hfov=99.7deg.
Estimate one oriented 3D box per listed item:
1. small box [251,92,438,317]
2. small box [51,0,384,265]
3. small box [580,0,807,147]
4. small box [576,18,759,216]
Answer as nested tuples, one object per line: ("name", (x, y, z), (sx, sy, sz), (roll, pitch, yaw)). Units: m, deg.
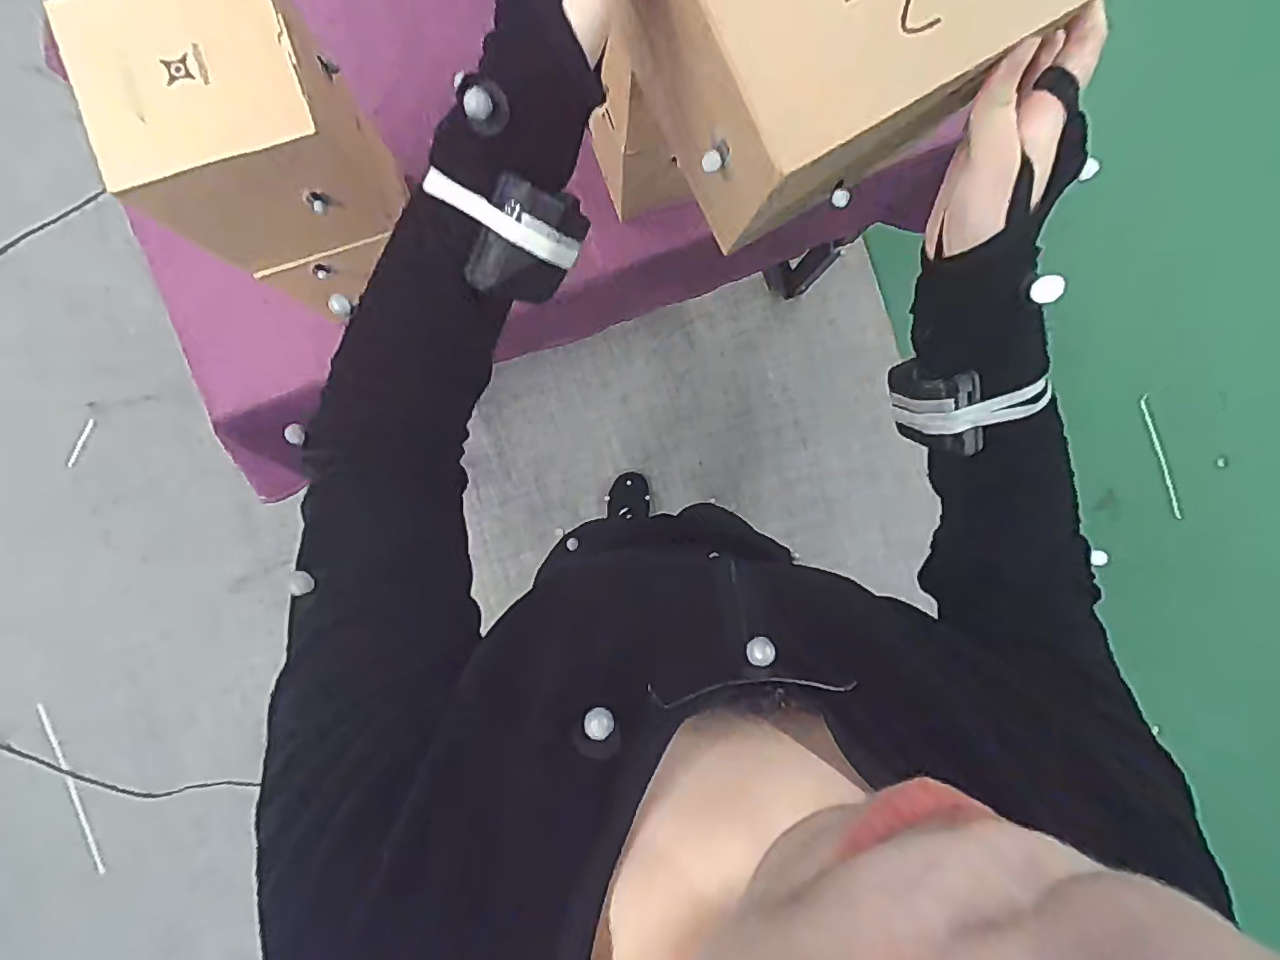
("small box", (-0.381, -0.334, 0.684), (0.168, 0.176, 0.179), (-19, 90, -2))
("small box", (-0.373, -0.335, 0.520), (0.179, 0.176, 0.168), (-18, 90, -2))
("small box", (0.040, -0.481, 0.542), (0.179, 0.176, 0.168), (-20, 91, -2))
("small box", (0.029, -0.479, 0.705), (0.179, 0.176, 0.168), (-20, 91, -3))
